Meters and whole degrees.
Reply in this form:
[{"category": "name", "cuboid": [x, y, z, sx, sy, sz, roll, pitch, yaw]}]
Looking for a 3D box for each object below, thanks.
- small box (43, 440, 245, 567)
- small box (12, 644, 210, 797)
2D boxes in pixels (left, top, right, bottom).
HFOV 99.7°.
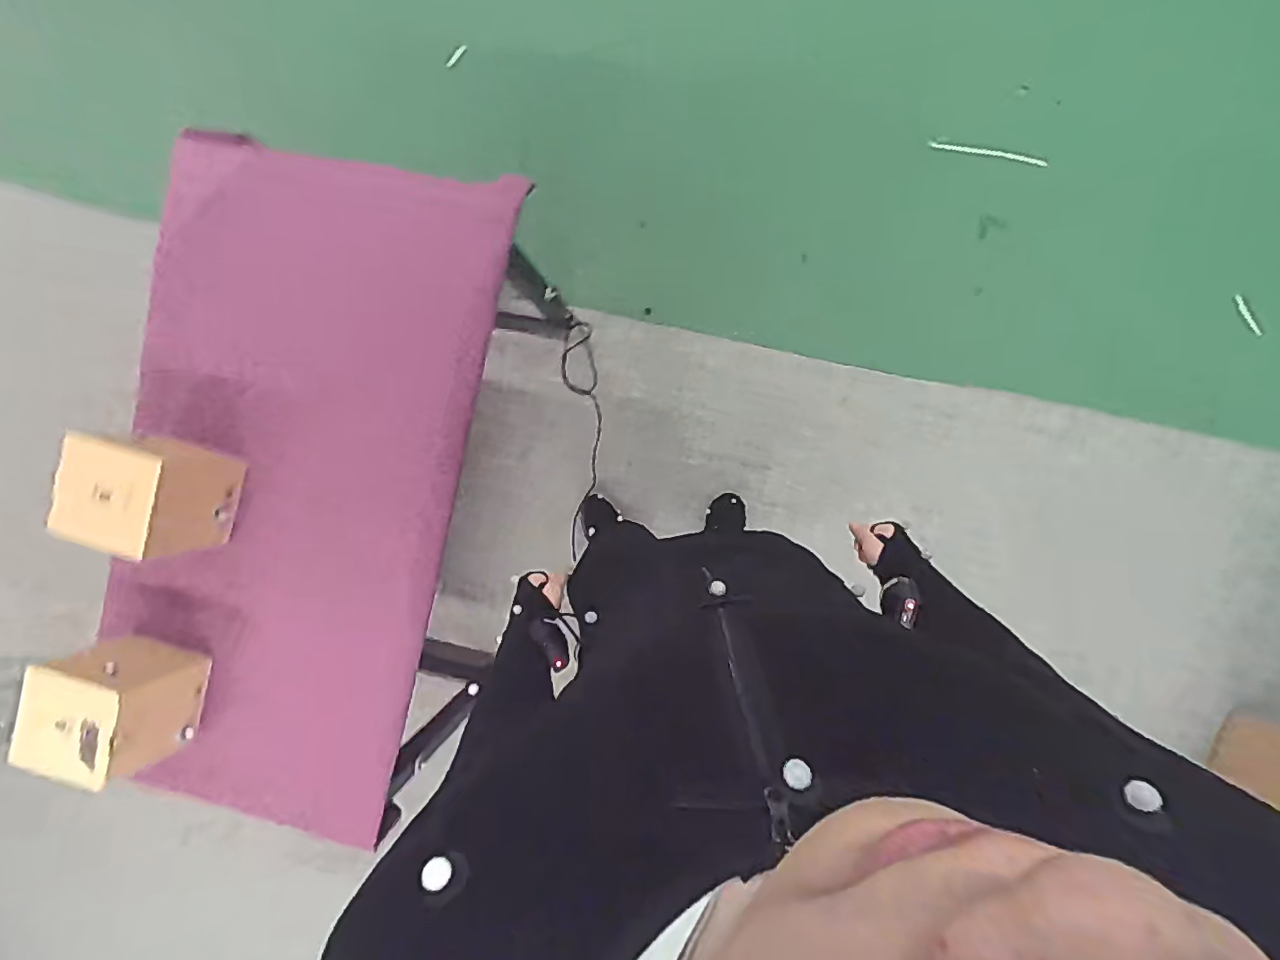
[{"category": "small box", "cuboid": [-0.833, 0.034, 0.923, 0.179, 0.176, 0.168, 15, 94, 3]}, {"category": "small box", "cuboid": [-0.904, 0.405, 0.940, 0.179, 0.176, 0.168, 13, 93, 4]}]
